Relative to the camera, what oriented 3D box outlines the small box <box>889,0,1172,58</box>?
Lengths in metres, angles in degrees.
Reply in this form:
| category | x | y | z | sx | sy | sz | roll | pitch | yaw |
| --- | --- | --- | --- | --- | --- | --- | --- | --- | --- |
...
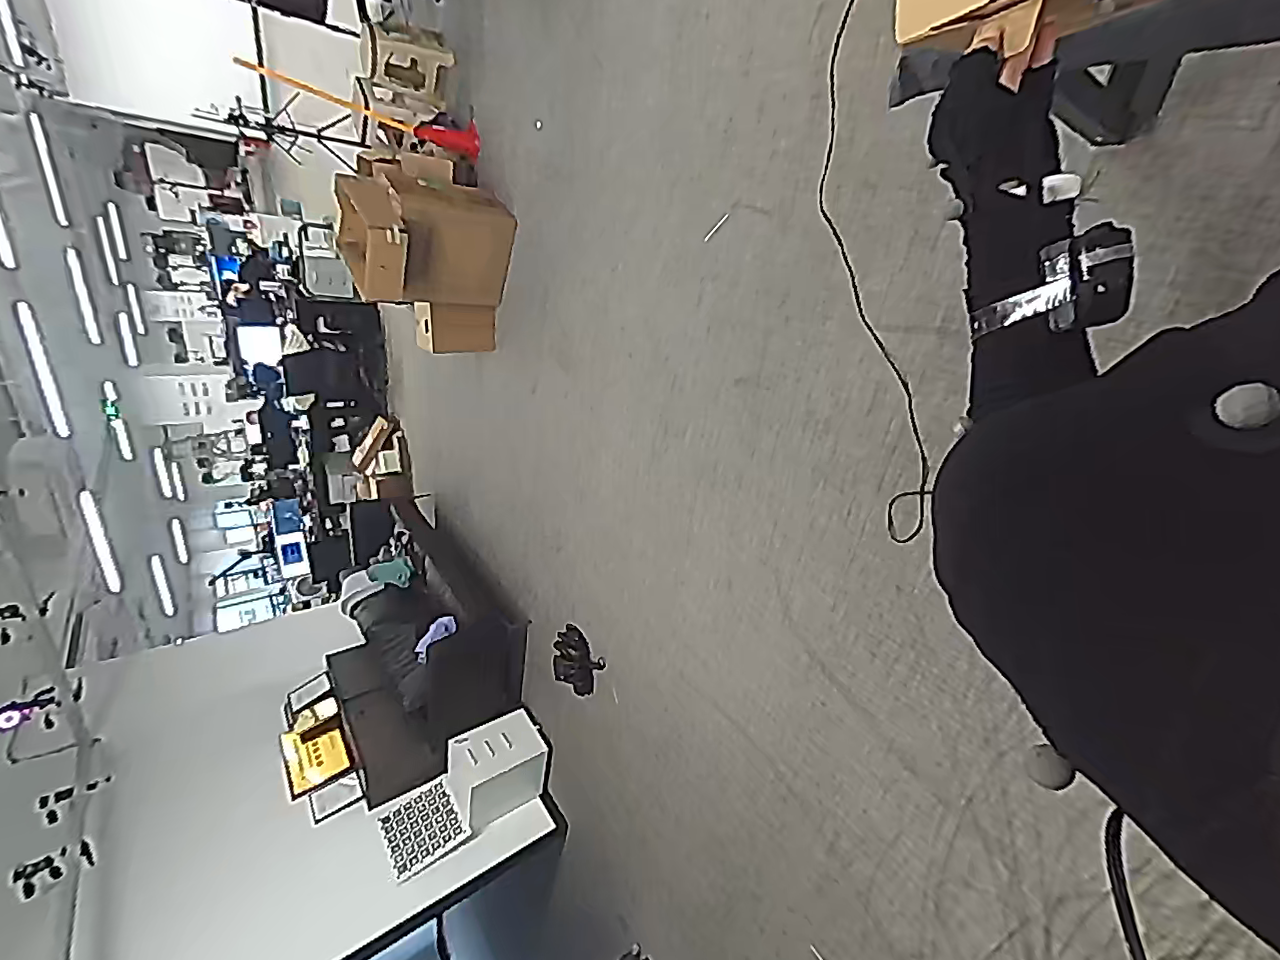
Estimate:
| category | x | y | z | sx | sy | sz | roll | pitch | yaw |
| --- | --- | --- | --- | --- | --- | --- | --- | --- | --- |
| small box | 0.309 | -0.437 | 0.392 | 0.168 | 0.176 | 0.179 | 25 | 128 | 54 |
